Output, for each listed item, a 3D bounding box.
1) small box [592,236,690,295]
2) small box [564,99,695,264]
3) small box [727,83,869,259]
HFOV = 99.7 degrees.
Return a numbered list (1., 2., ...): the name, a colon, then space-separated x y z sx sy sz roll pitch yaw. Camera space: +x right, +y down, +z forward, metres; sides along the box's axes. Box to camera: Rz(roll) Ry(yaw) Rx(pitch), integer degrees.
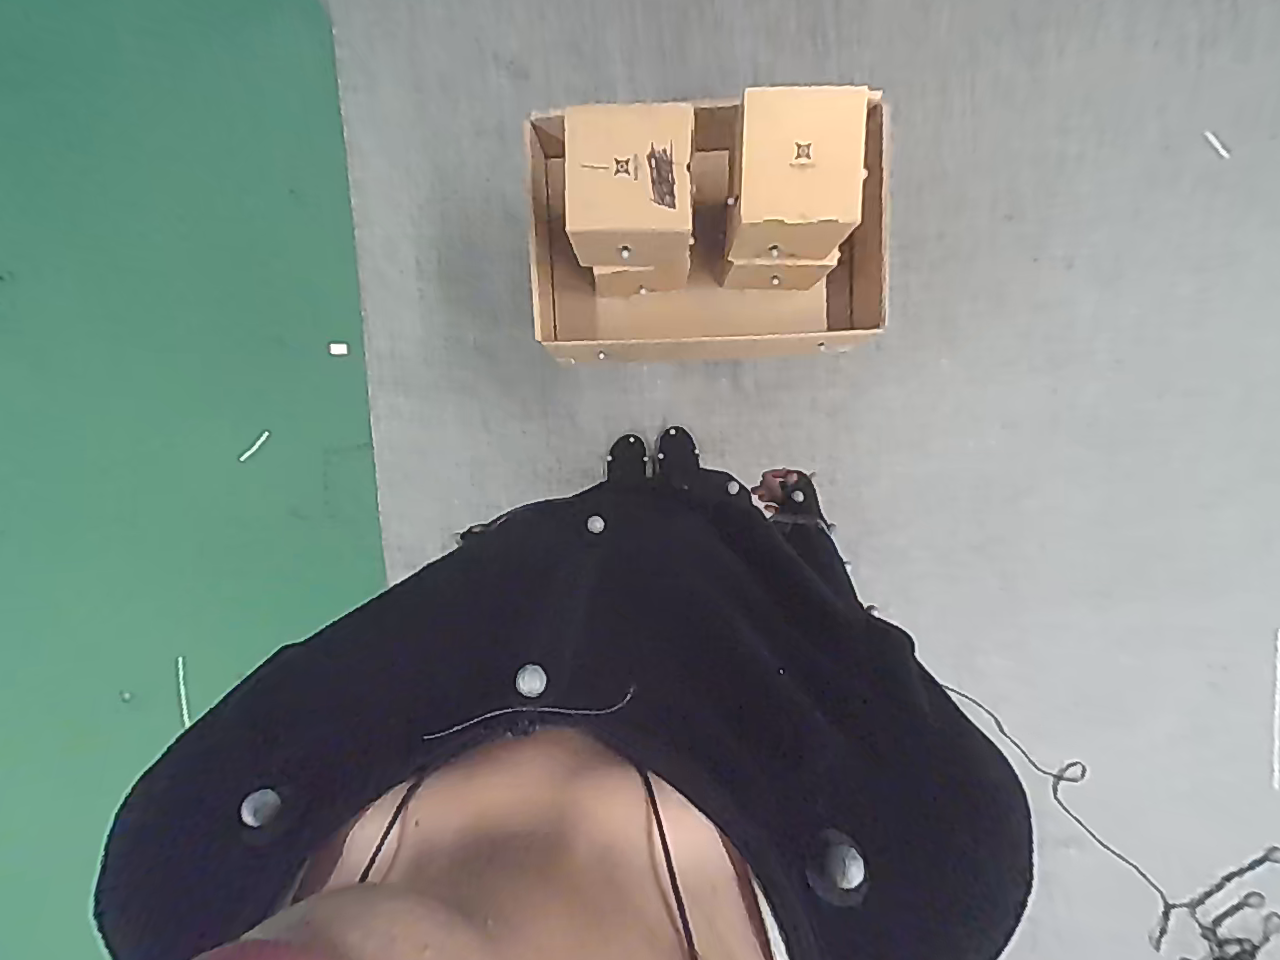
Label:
1. small box: -0.005 -0.448 0.970 0.168 0.176 0.179 -6 96 2
2. small box: -0.013 -0.432 0.807 0.179 0.176 0.168 1 95 2
3. small box: 0.223 -0.447 0.803 0.168 0.176 0.179 1 95 2
